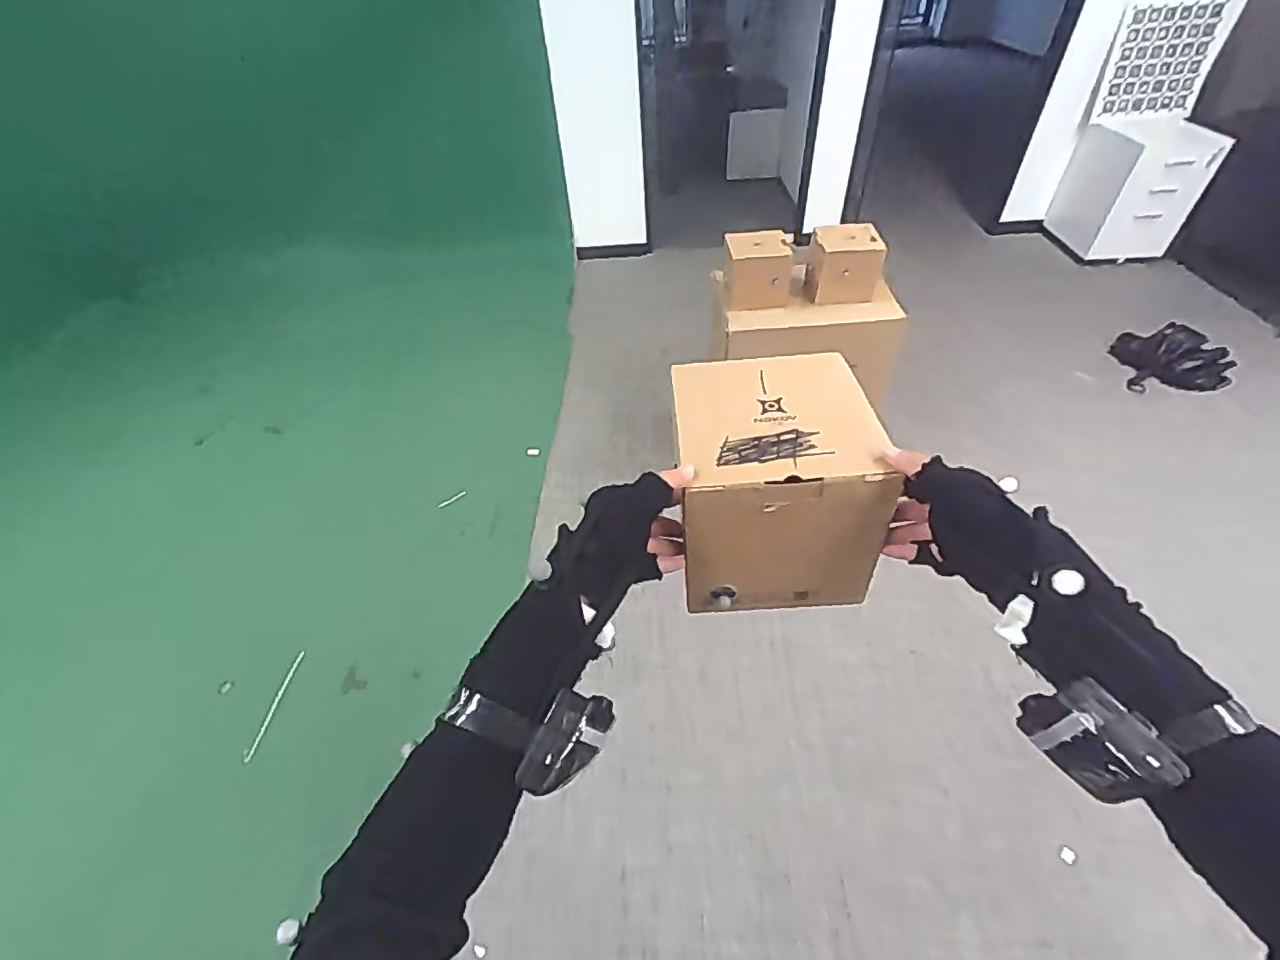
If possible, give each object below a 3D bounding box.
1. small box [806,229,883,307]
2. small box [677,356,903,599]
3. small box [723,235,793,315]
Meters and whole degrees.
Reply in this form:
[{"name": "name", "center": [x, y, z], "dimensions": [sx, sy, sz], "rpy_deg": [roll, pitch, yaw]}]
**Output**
[{"name": "small box", "center": [0.618, -0.647, 1.660], "dimensions": [0.179, 0.176, 0.168], "rpy_deg": [-2, 49, 3]}, {"name": "small box", "center": [0.125, 0.002, 0.521], "dimensions": [0.168, 0.176, 0.179], "rpy_deg": [-3, 42, 3]}, {"name": "small box", "center": [0.356, -0.631, 1.668], "dimensions": [0.179, 0.176, 0.168], "rpy_deg": [-5, 48, 2]}]
